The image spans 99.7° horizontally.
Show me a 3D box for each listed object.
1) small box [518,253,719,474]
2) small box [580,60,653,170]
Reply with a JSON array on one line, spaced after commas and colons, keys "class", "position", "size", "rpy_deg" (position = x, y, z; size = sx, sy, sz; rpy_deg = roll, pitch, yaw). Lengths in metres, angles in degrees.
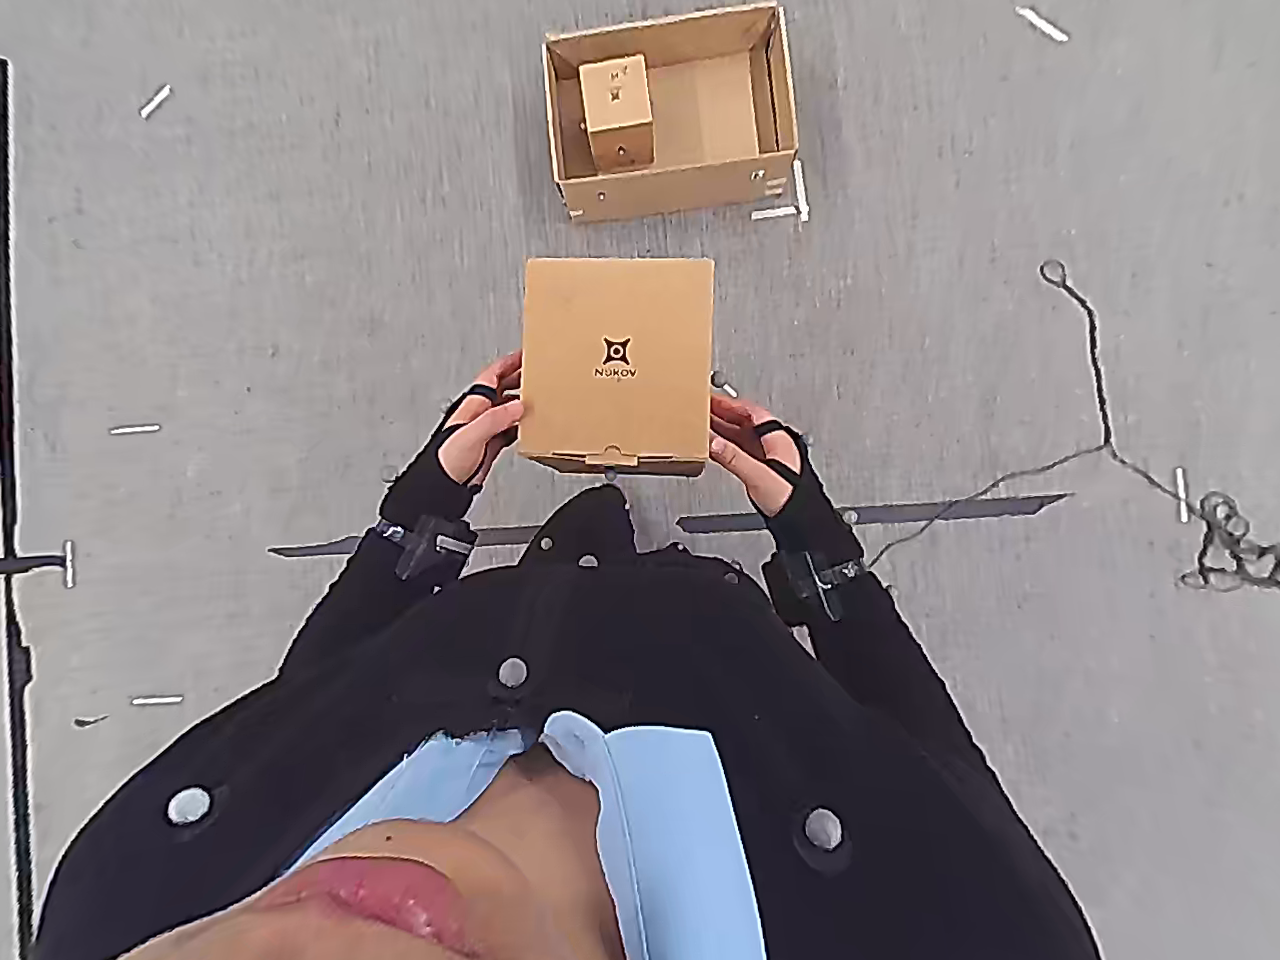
[{"class": "small box", "position": [-0.015, -0.102, 0.539], "size": [0.168, 0.176, 0.179], "rpy_deg": [2, 87, 3]}, {"class": "small box", "position": [-0.057, -0.947, 1.424], "size": [0.168, 0.176, 0.179], "rpy_deg": [-7, 87, 2]}]
